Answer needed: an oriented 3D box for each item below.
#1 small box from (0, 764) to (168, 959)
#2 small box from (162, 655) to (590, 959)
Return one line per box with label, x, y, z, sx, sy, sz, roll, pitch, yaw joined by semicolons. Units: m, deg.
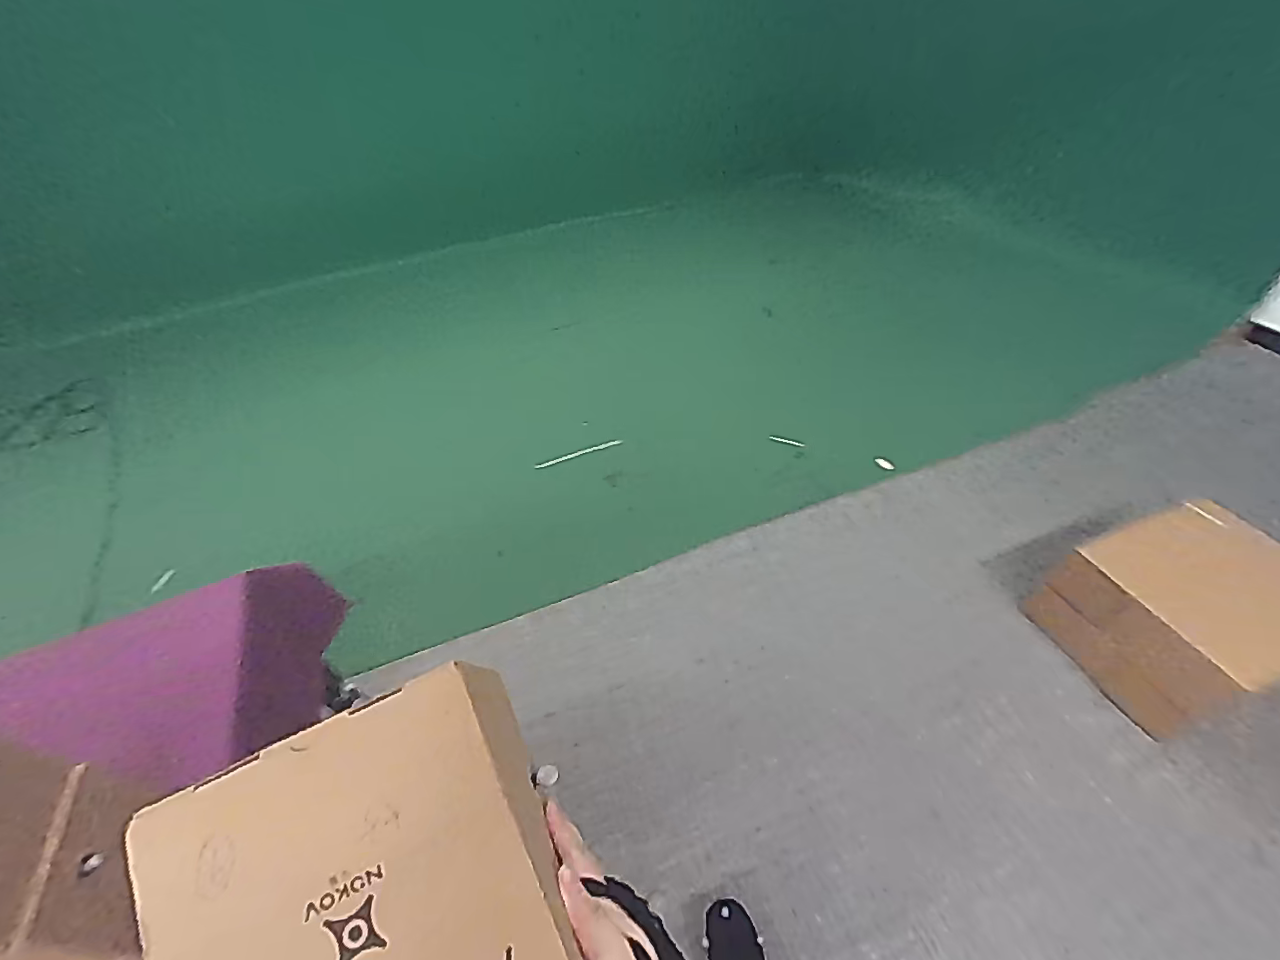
small box;-0.675;0.462;0.607;0.168;0.176;0.179;-20;46;-11
small box;-0.139;0.231;0.338;0.168;0.176;0.179;-22;72;-13
